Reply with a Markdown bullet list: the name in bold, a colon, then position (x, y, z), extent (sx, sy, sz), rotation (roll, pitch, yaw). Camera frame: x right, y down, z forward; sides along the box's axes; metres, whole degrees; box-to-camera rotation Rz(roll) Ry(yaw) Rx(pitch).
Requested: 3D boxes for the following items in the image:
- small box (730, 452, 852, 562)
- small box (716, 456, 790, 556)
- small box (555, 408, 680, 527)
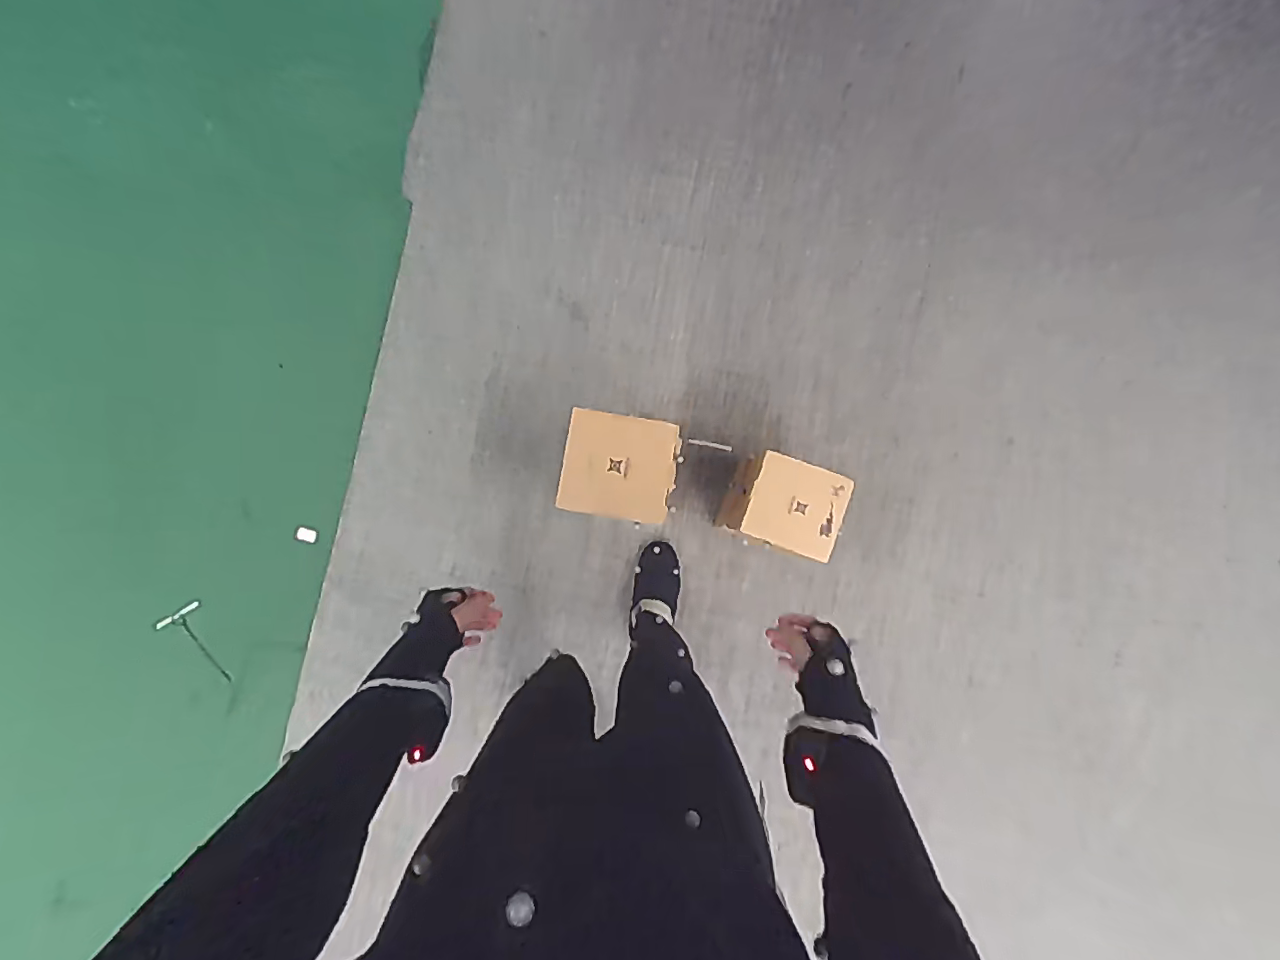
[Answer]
- **small box**: position (0.291, 0.057, 1.086), extent (0.179, 0.176, 0.168), rotation (20, 87, 4)
- **small box**: position (0.282, 0.060, 1.252), extent (0.168, 0.176, 0.179), rotation (20, 87, 4)
- **small box**: position (-0.032, -0.015, 0.937), extent (0.179, 0.176, 0.168), rotation (10, 86, 4)
